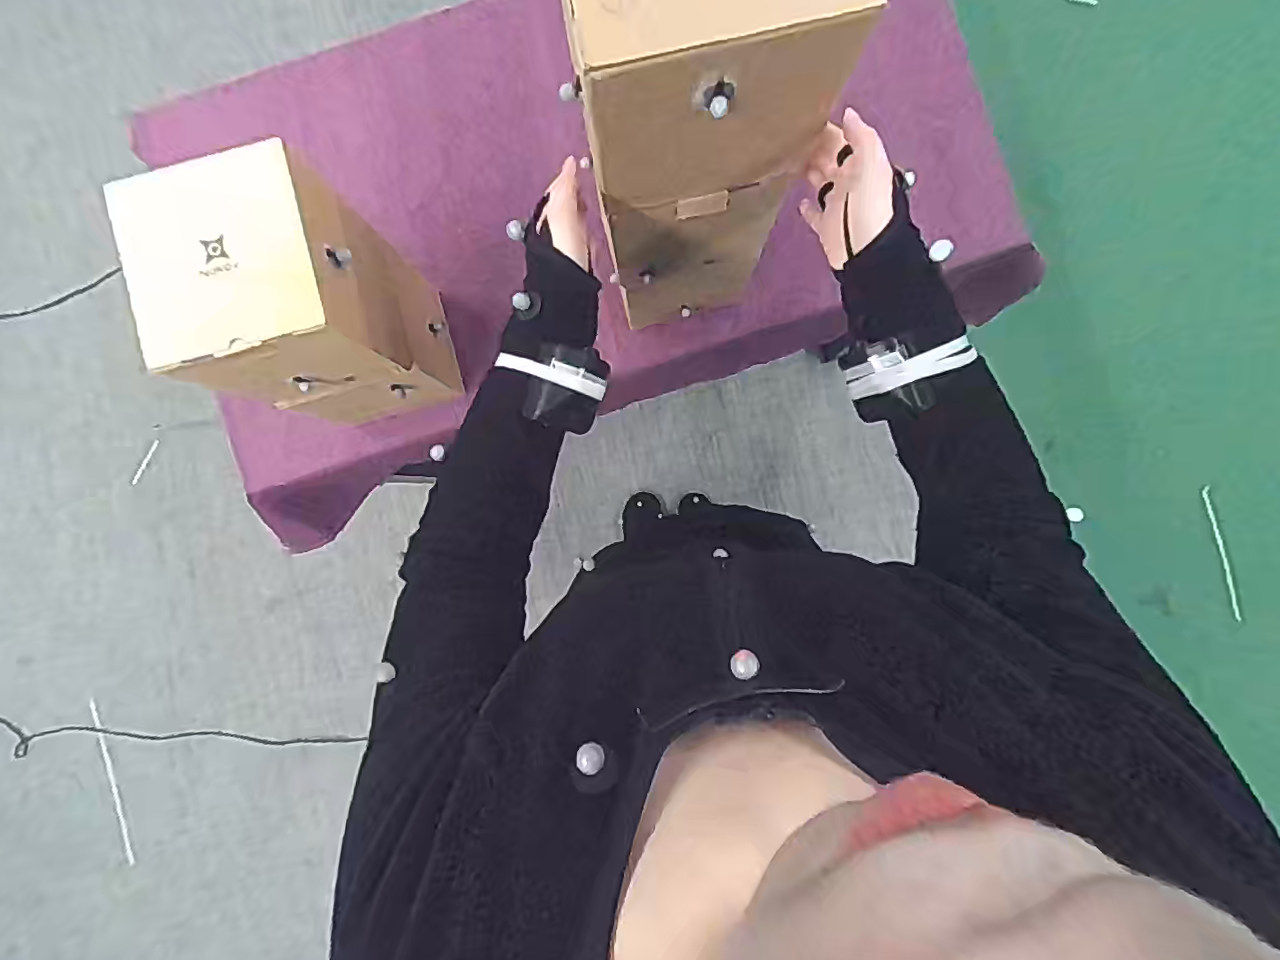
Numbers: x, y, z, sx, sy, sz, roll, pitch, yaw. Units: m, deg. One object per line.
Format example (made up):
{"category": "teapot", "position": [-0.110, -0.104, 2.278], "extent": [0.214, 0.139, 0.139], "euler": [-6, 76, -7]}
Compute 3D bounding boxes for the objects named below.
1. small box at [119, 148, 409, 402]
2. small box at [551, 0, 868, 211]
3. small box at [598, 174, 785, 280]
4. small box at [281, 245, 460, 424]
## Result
{"category": "small box", "position": [-0.370, -0.195, 0.563], "extent": [0.168, 0.176, 0.179], "euler": [-14, 89, 1]}
{"category": "small box", "position": [0.033, -0.321, 0.387], "extent": [0.179, 0.176, 0.168], "euler": [-11, 90, 2]}
{"category": "small box", "position": [0.035, -0.323, 0.550], "extent": [0.168, 0.176, 0.179], "euler": [-12, 87, 2]}
{"category": "small box", "position": [-0.359, -0.182, 0.726], "extent": [0.179, 0.176, 0.168], "euler": [-15, 87, 1]}
